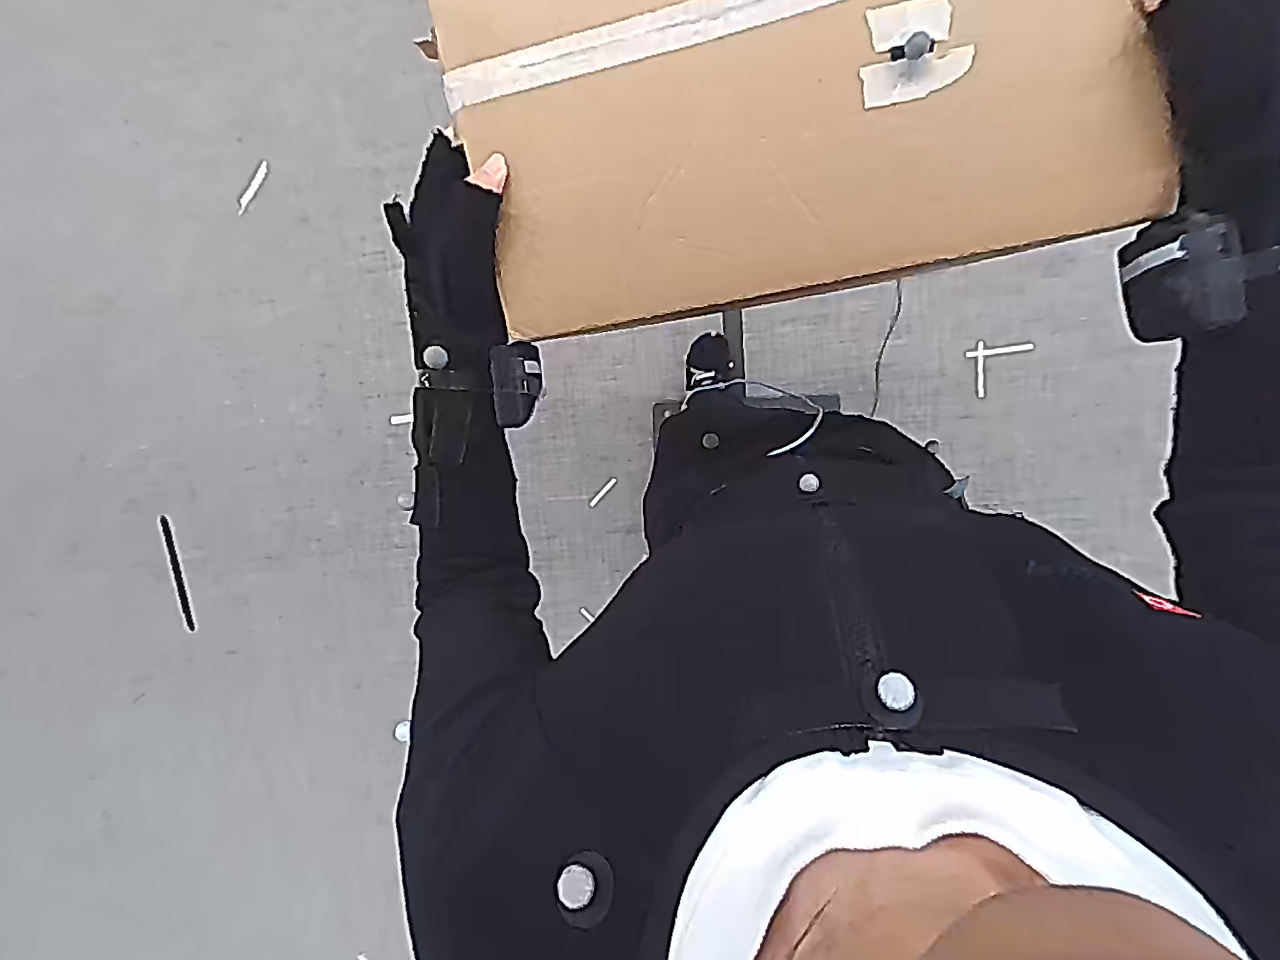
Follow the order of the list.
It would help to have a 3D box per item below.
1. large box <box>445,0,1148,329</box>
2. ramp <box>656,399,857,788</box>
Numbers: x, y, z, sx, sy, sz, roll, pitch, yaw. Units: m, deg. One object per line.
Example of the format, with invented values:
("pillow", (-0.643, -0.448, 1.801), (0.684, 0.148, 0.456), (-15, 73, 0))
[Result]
("large box", (0.095, -0.325, 0.462), (0.408, 0.320, 0.320), (-9, 105, 10))
("ramp", (0.296, 0.293, 1.430), (0.509, 0.206, 0.991), (-3, 98, 10))
